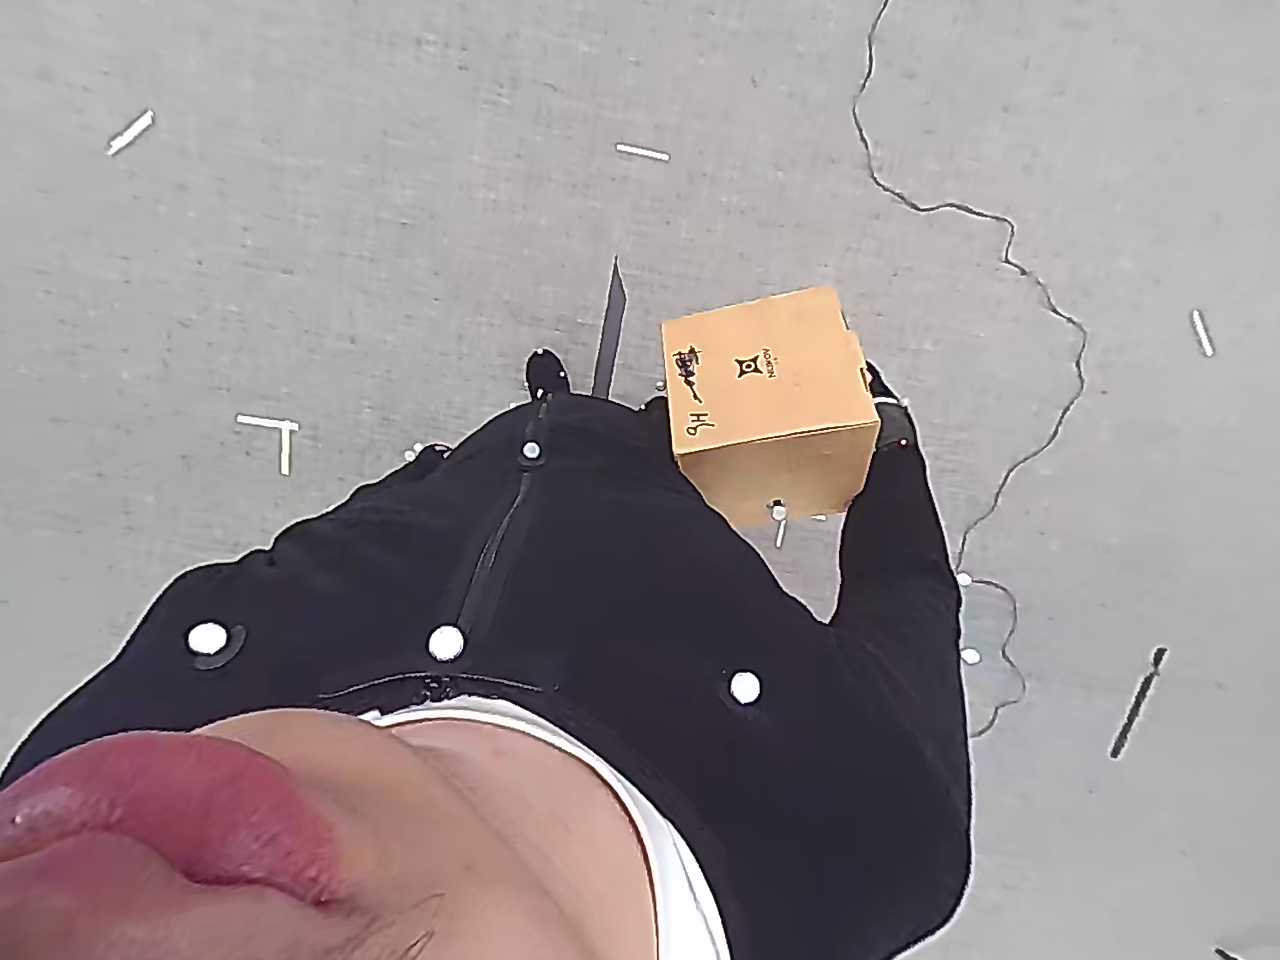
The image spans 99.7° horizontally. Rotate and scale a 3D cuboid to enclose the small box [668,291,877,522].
[{"bbox_3d":[0.133,-0.069,0.582,0.179,0.176,0.168,-9,58,10],"label":"small box"}]
